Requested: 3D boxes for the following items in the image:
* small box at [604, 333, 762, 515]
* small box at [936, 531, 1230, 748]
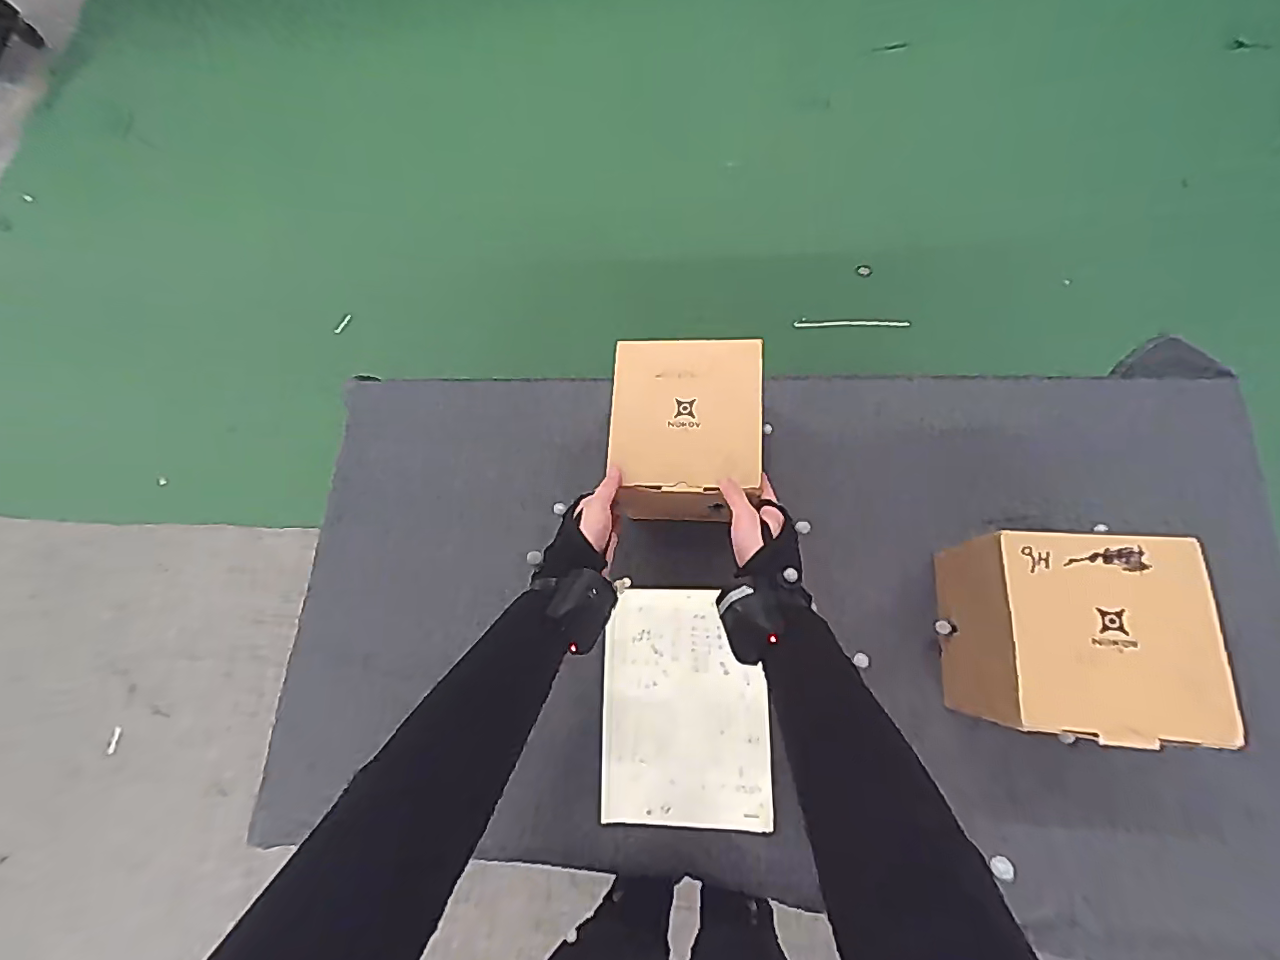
[{"bbox_3d":[0.058,-0.056,0.651,0.168,0.176,0.179,1,74,7],"label":"small box"},{"bbox_3d":[0.423,0.153,0.554,0.168,0.176,0.179,2,76,9],"label":"small box"}]
